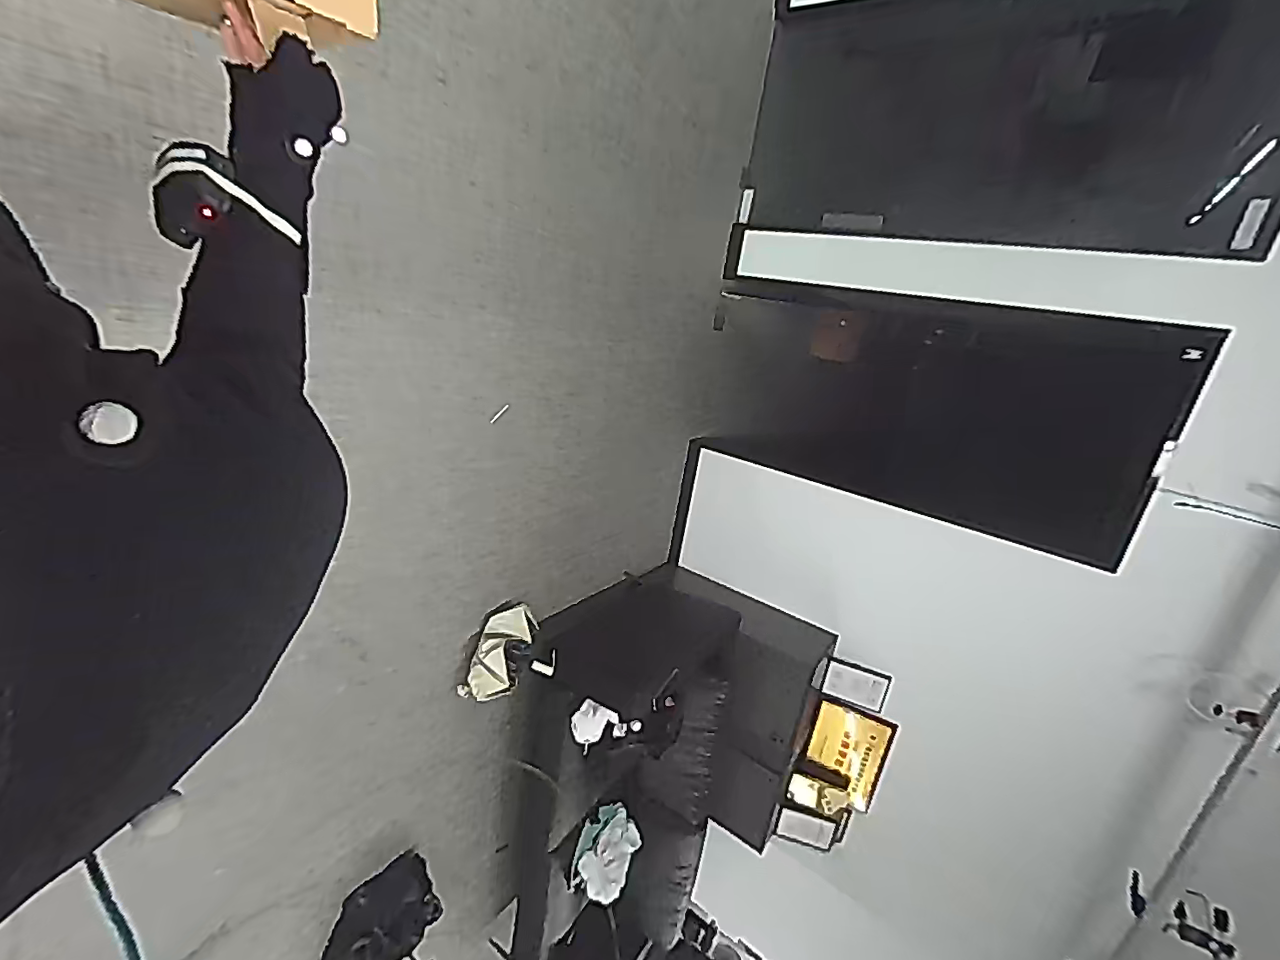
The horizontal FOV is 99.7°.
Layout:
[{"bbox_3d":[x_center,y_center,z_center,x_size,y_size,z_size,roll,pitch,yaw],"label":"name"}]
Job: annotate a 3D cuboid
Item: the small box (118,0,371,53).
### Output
[{"bbox_3d":[-0.362,-0.506,0.466,0.168,0.176,0.179,-24,128,-52],"label":"small box"}]
